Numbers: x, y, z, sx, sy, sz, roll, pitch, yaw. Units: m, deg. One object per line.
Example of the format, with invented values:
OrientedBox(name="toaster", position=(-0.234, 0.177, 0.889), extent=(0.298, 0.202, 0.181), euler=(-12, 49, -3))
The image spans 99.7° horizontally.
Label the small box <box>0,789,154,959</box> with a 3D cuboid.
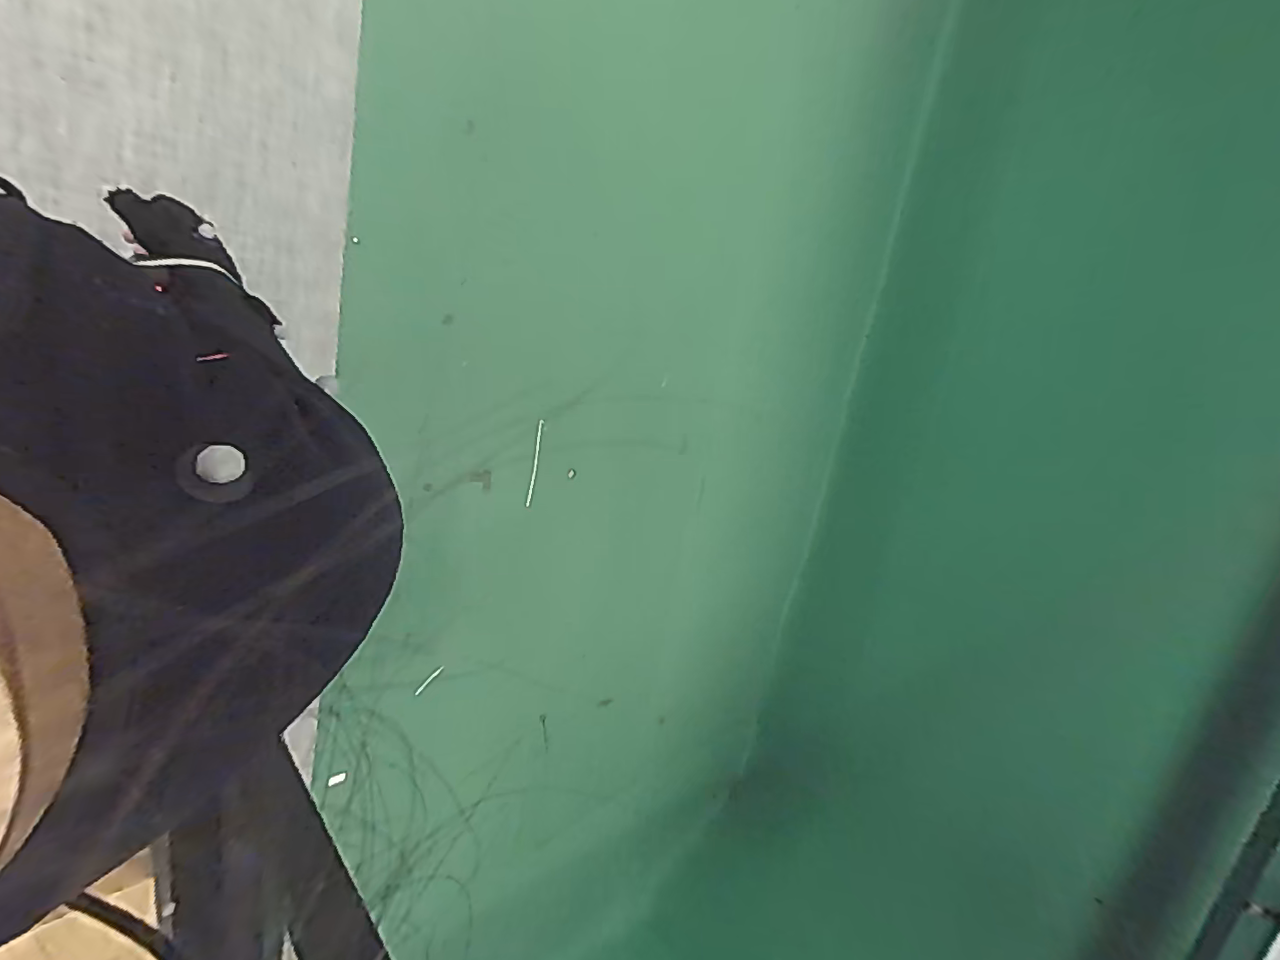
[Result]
OrientedBox(name="small box", position=(-0.643, 0.472, 0.577), extent=(0.168, 0.176, 0.179), euler=(-6, 112, -47))
